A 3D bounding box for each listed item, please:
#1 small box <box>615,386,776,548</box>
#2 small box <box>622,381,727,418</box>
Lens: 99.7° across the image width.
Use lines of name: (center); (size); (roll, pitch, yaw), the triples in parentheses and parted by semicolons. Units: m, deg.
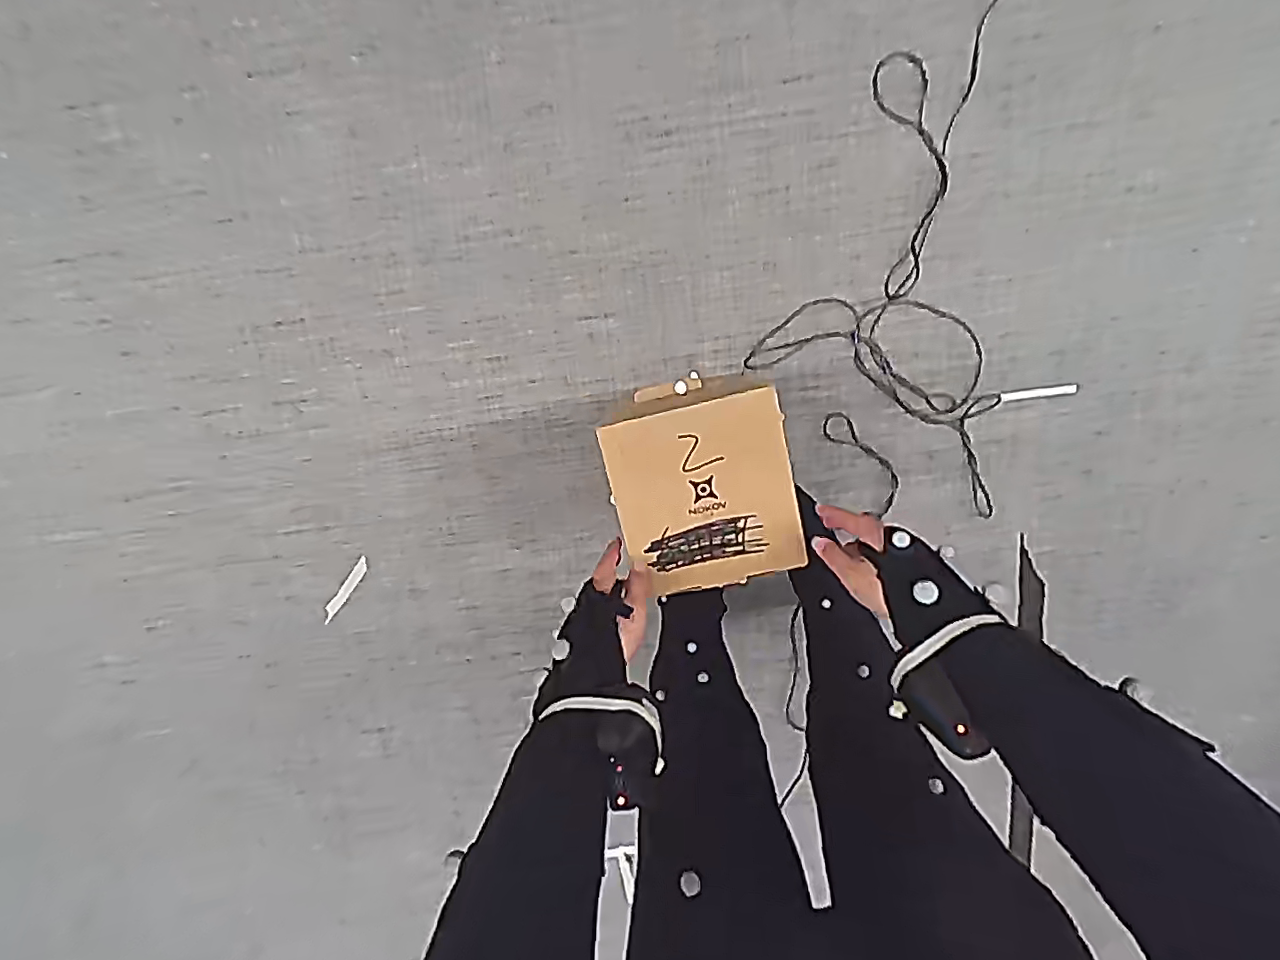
small box: (0.071, -0.027, 0.738); (0.179, 0.176, 0.168); (-13, 103, 5)
small box: (0.071, -0.062, 0.896); (0.168, 0.176, 0.179); (-14, 103, 5)
